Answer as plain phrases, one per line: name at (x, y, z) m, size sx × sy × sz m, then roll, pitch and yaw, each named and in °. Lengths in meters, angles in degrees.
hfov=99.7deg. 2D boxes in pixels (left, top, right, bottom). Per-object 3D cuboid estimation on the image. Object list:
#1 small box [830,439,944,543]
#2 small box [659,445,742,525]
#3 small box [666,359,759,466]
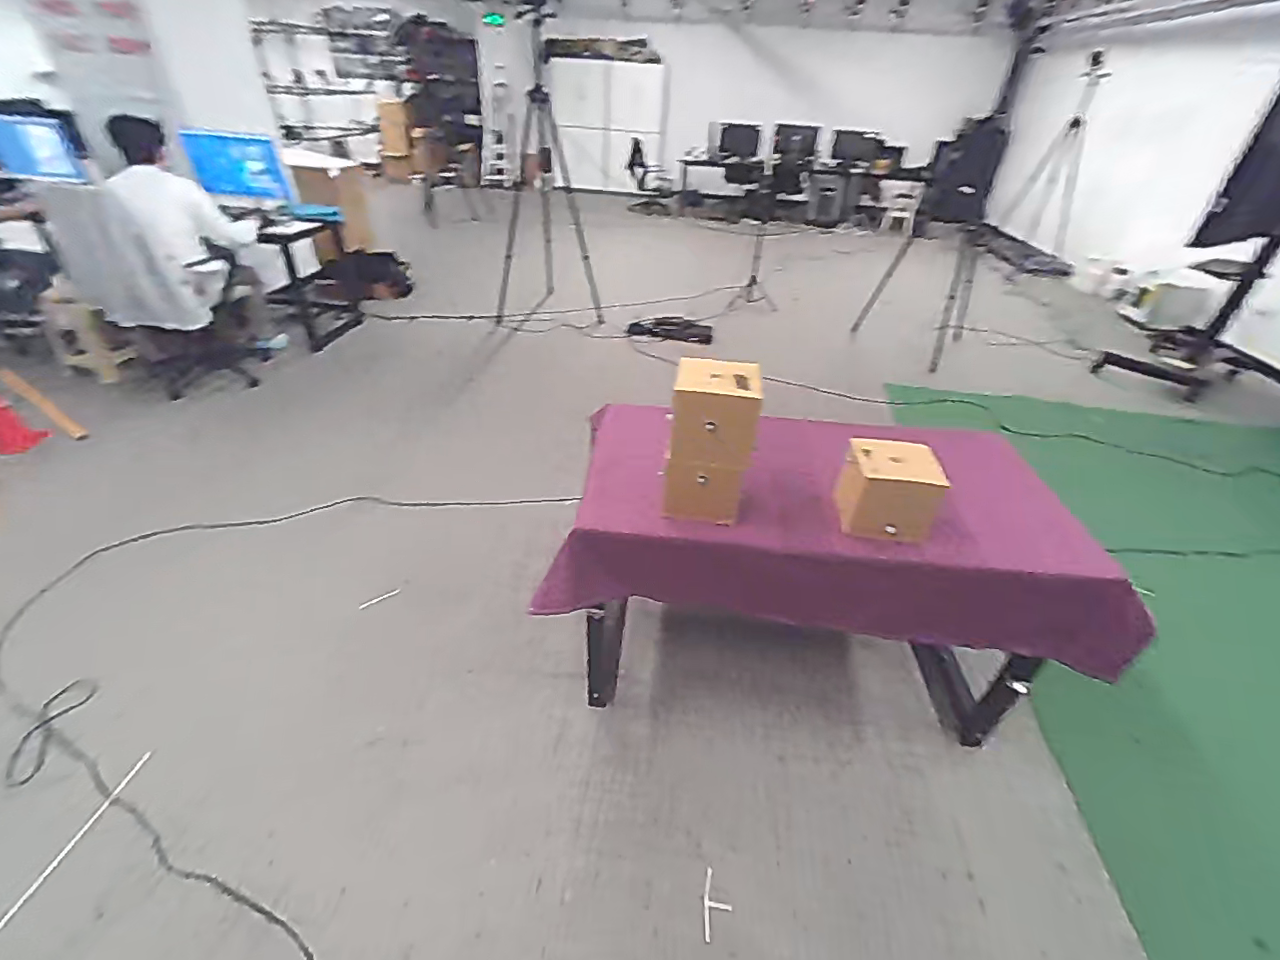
small box at (0.560, 0.026, 1.253) m, size 0.179 × 0.176 × 0.168 m, roll 7°, pitch 35°, yaw 4°
small box at (0.141, -0.012, 1.271) m, size 0.179 × 0.176 × 0.168 m, roll 8°, pitch 36°, yaw 5°
small box at (0.155, -0.146, 1.176) m, size 0.179 × 0.176 × 0.168 m, roll 6°, pitch 36°, yaw 5°
